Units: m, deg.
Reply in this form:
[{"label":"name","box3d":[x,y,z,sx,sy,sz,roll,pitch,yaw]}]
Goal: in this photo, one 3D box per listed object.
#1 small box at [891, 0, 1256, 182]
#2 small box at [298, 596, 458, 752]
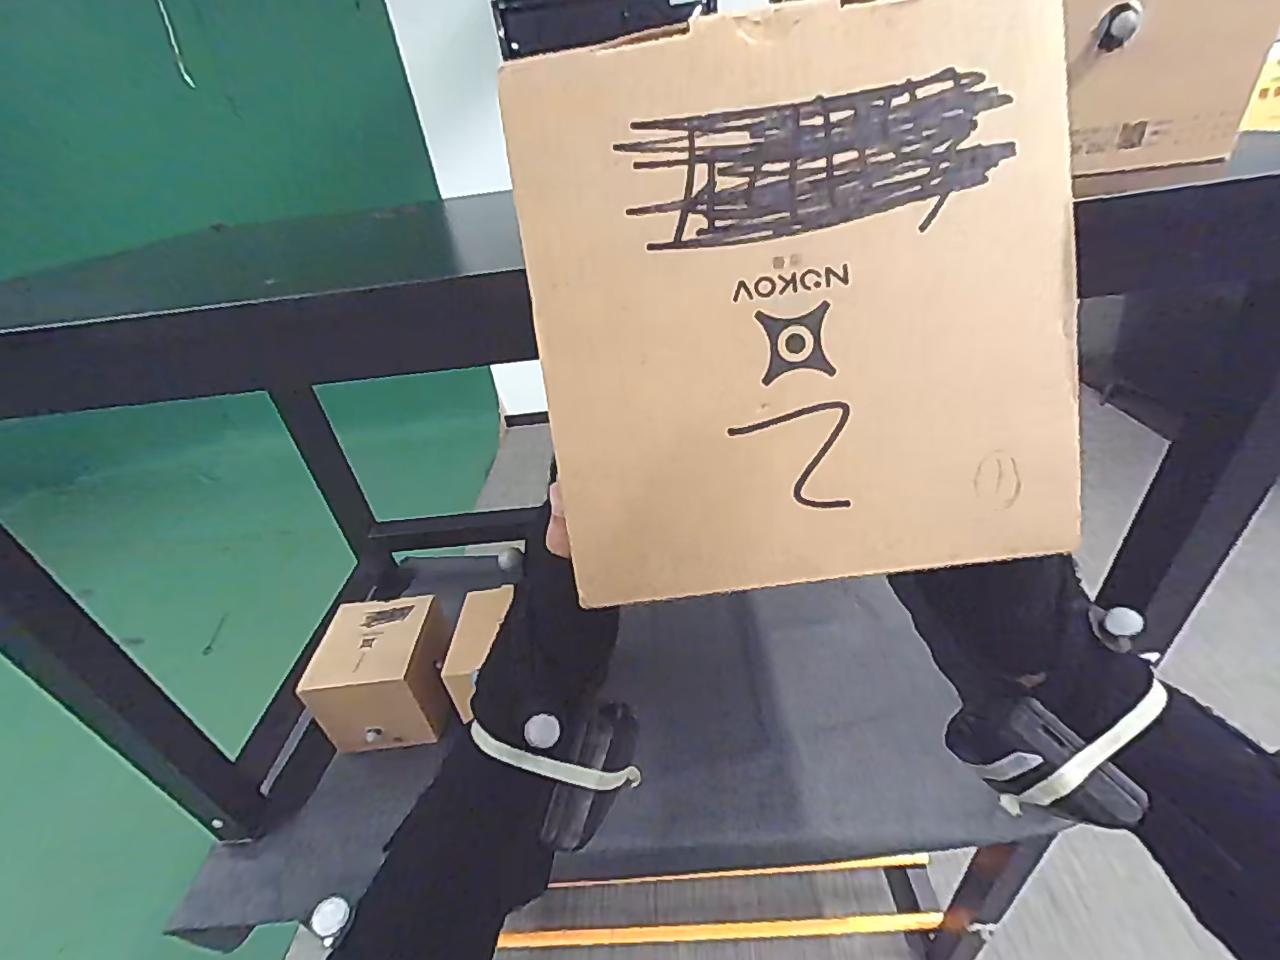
[{"label":"small box","box3d":[0.291,-0.321,0.387,0.168,0.176,0.179,0,33,12]},{"label":"small box","box3d":[-0.421,0.323,0.909,0.168,0.176,0.179,-7,33,2]}]
